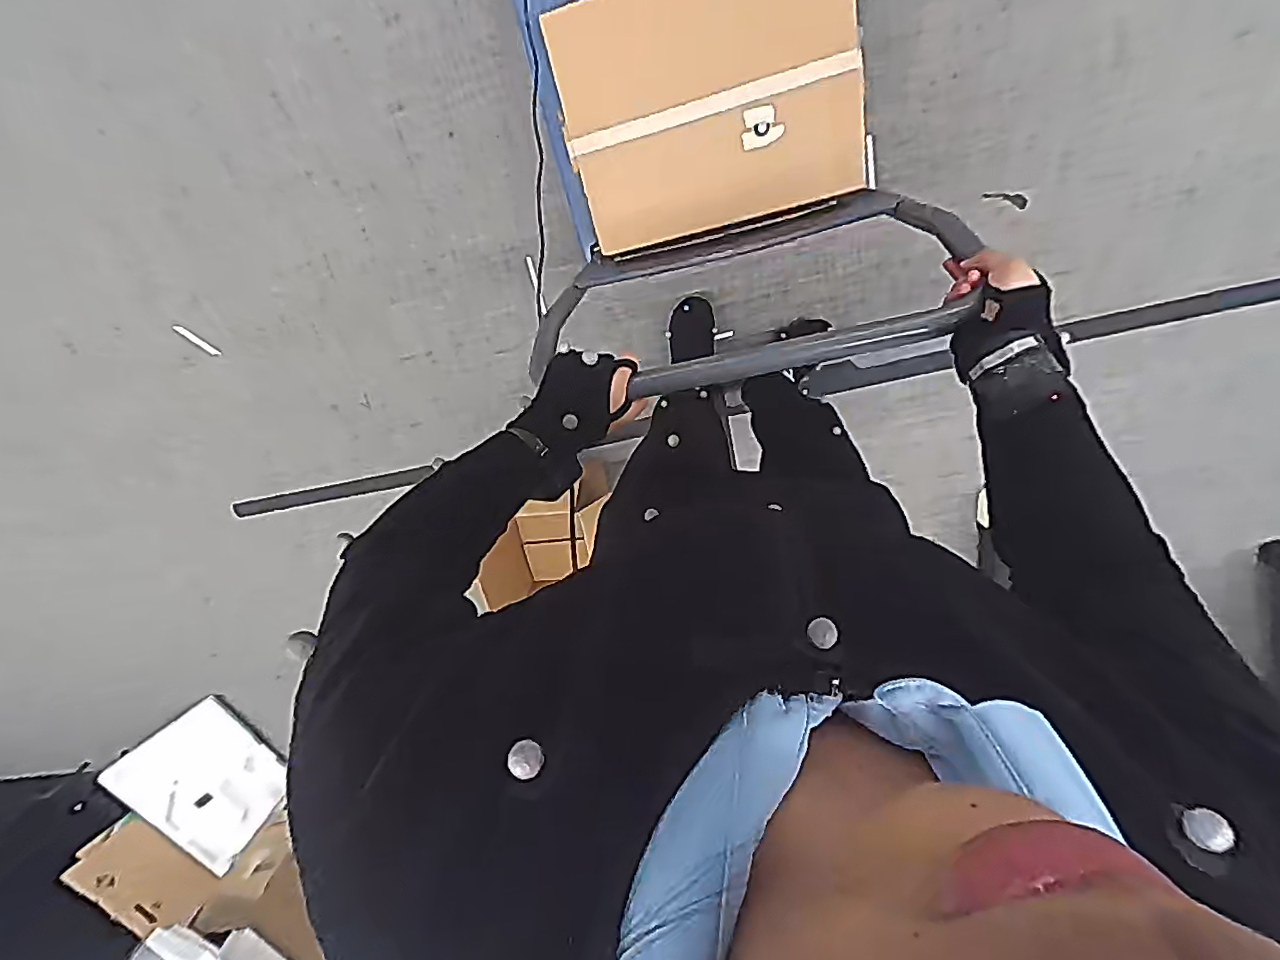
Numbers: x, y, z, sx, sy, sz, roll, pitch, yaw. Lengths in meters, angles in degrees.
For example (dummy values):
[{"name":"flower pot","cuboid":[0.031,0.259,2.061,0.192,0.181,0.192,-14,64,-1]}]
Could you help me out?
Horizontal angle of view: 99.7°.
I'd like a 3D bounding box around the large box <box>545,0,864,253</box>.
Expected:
[{"name":"large box","cuboid":[0.109,-0.604,0.889,0.408,0.320,0.320,-11,119,12]}]
